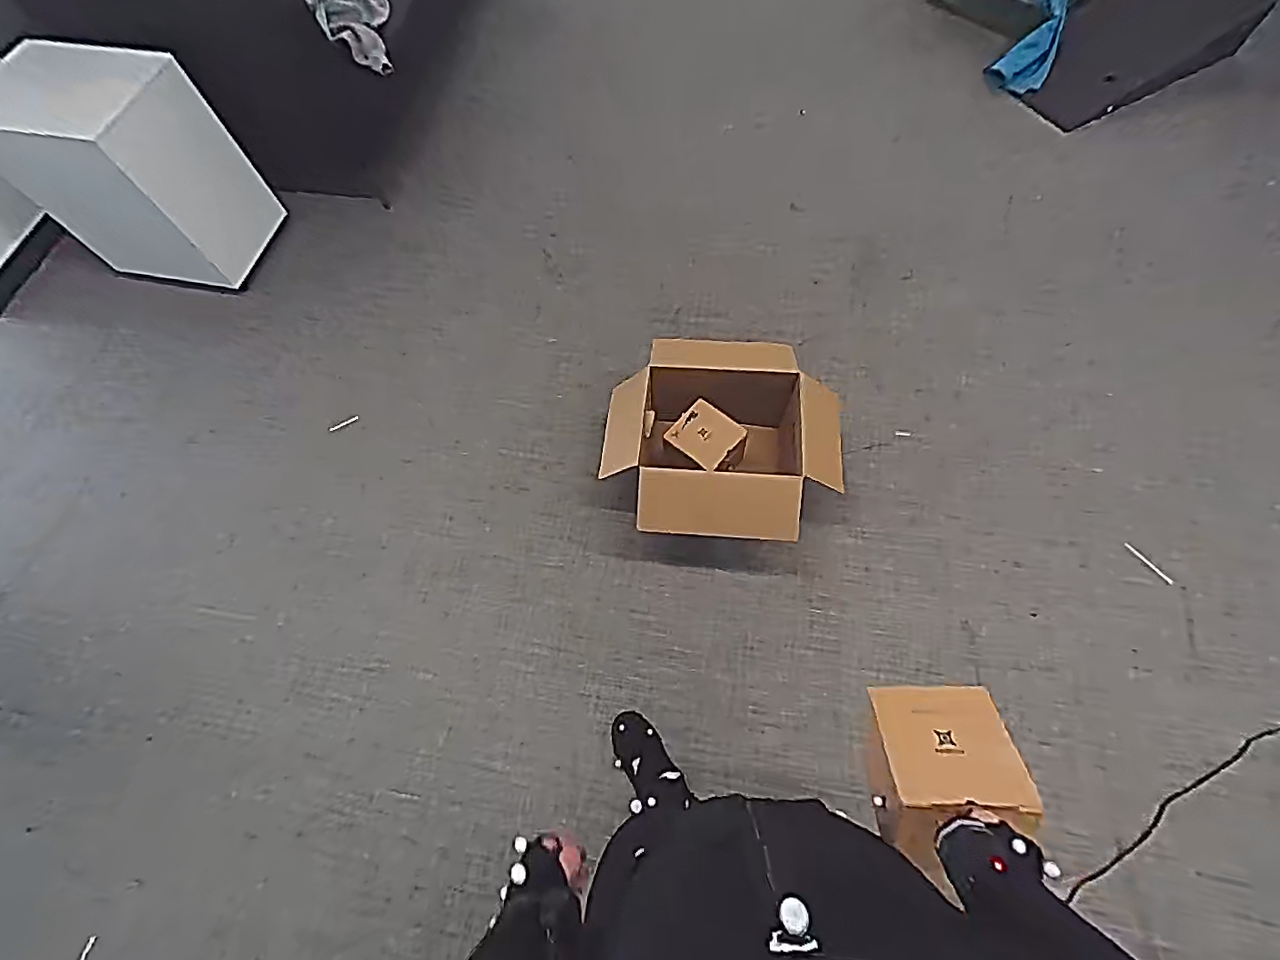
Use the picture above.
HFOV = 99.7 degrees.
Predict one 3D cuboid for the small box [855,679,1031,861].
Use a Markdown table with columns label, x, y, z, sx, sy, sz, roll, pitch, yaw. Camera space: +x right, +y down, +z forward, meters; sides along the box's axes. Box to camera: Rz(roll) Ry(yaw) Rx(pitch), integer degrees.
| label | x | y | z | sx | sy | sz | roll | pitch | yaw |
| --- | --- | --- | --- | --- | --- | --- | --- | --- | --- |
| small box | 0.416 | 0.414 | 0.776 | 0.168 | 0.176 | 0.179 | -4 | 30 | 9 |
